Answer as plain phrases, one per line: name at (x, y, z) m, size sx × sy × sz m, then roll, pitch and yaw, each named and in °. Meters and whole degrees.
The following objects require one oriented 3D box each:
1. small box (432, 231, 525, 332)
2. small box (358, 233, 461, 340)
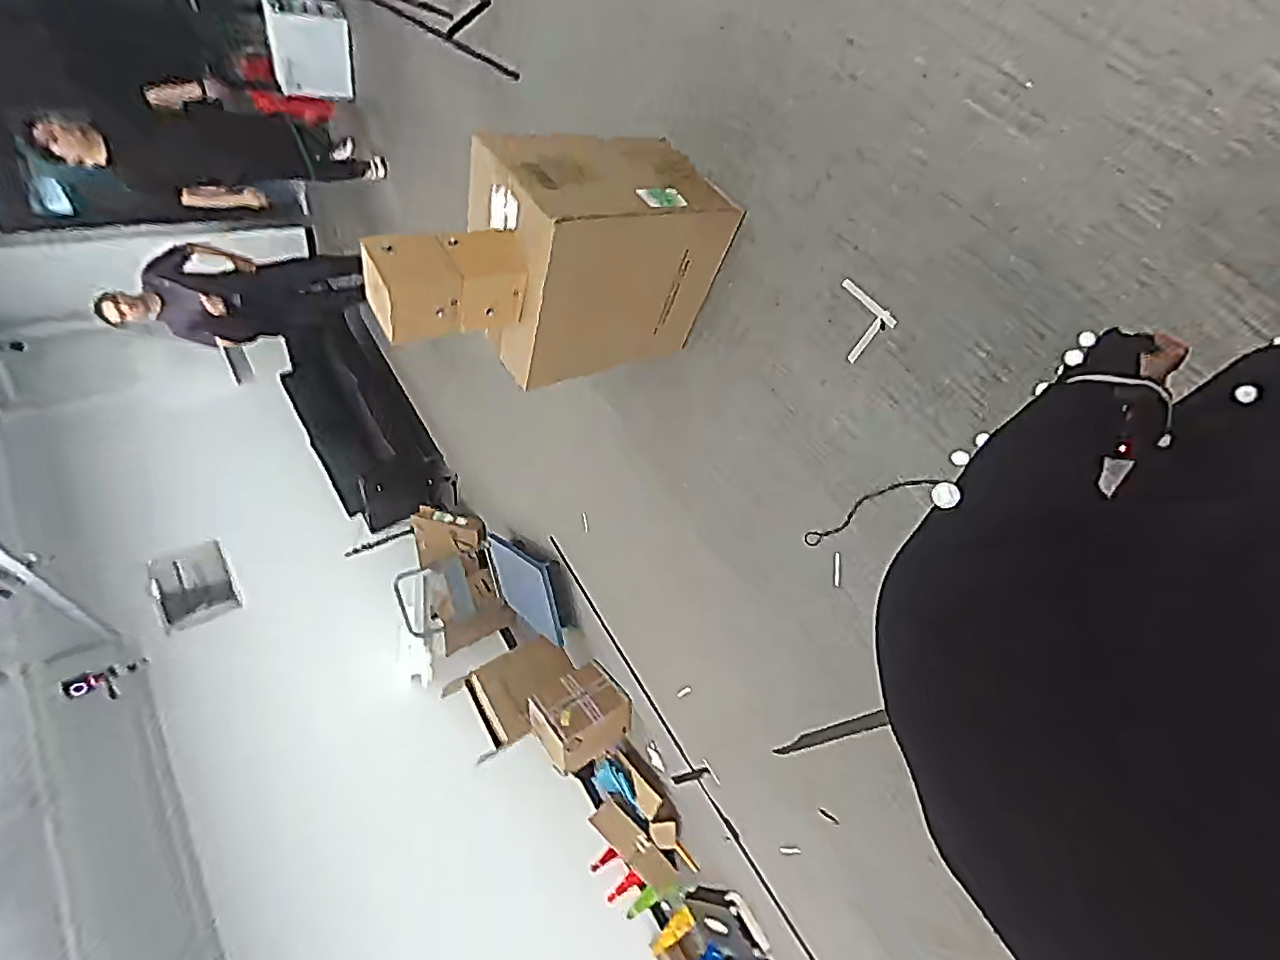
small box at (-0.406, -0.504, 1.358) m, size 0.179 × 0.176 × 0.168 m, roll 56°, pitch 146°, yaw 20°
small box at (-0.539, -0.458, 1.271) m, size 0.179 × 0.176 × 0.168 m, roll 57°, pitch 147°, yaw 18°
